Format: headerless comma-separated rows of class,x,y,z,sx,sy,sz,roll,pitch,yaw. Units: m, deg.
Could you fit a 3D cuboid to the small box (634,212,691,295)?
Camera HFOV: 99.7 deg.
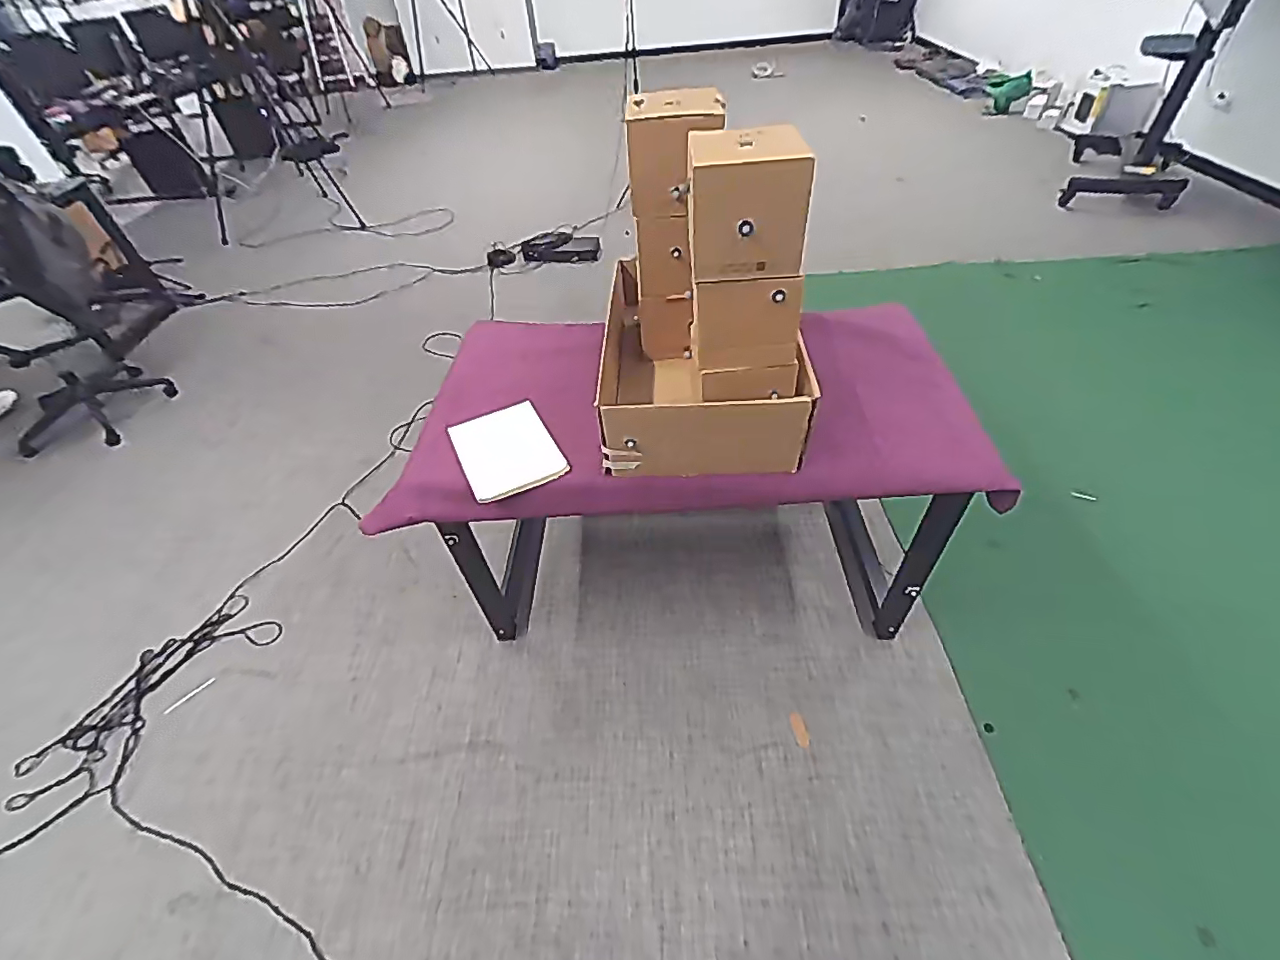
small box,0.077,-0.517,1.163,0.179,0.176,0.168,-4,47,2

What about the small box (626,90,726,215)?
small box,0.065,-0.631,1.045,0.179,0.176,0.168,-1,47,2

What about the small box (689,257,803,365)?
small box,0.179,-0.316,0.957,0.179,0.176,0.168,-2,45,4

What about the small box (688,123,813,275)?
small box,0.160,-0.431,0.841,0.168,0.176,0.179,-2,45,4
